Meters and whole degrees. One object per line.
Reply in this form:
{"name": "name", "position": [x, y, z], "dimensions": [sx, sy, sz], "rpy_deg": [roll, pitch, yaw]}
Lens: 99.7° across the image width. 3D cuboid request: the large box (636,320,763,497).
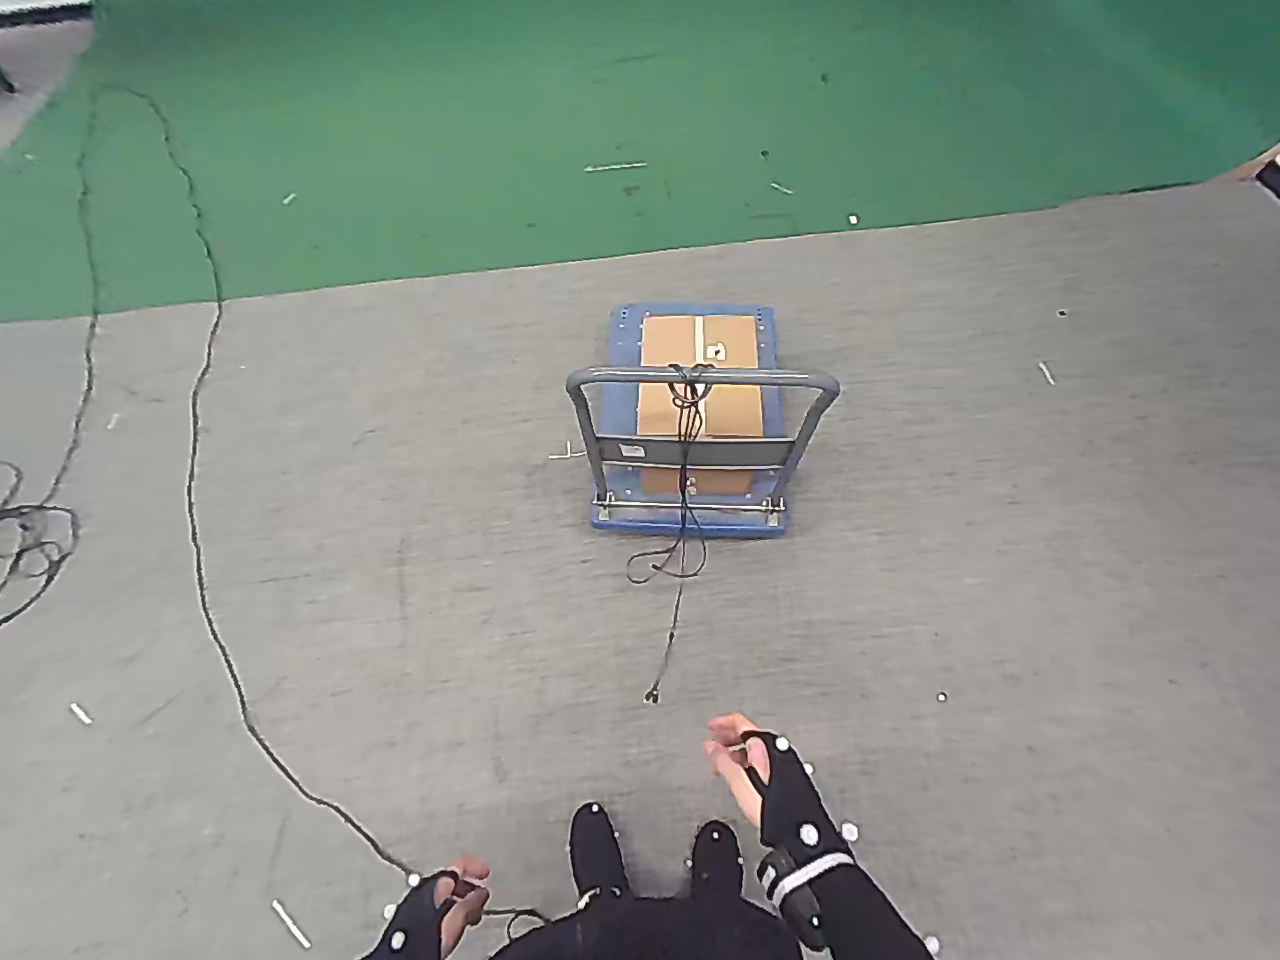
{"name": "large box", "position": [0.161, -0.194, 1.537], "dimensions": [0.320, 0.320, 0.408], "rpy_deg": [1, 61, 3]}
